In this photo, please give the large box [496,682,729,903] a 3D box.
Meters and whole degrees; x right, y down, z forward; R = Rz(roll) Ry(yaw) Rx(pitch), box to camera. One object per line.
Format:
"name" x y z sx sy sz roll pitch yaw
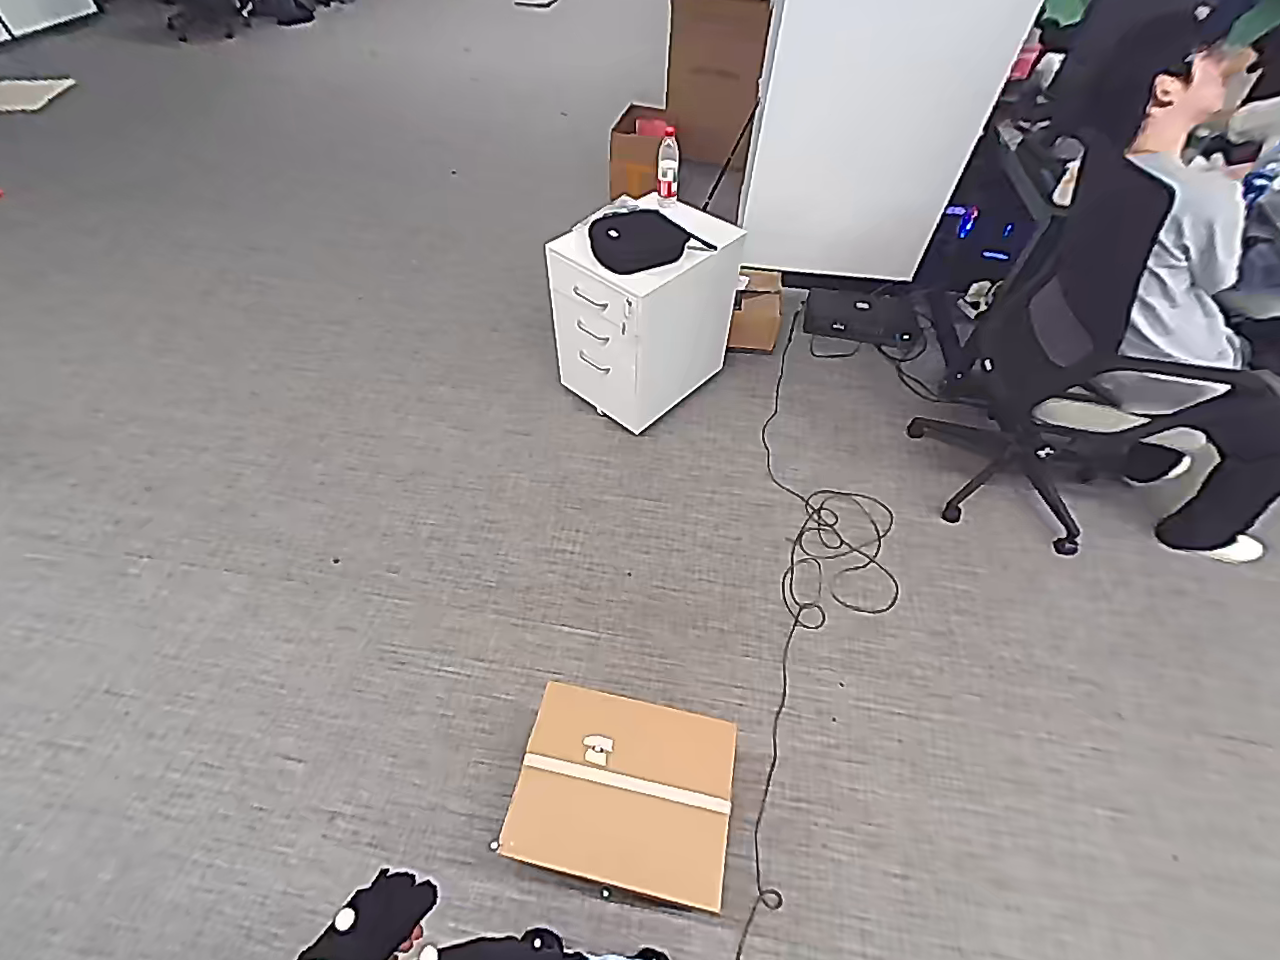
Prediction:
"large box" -0.039 0.669 1.158 0.408 0.320 0.320 10 52 6
